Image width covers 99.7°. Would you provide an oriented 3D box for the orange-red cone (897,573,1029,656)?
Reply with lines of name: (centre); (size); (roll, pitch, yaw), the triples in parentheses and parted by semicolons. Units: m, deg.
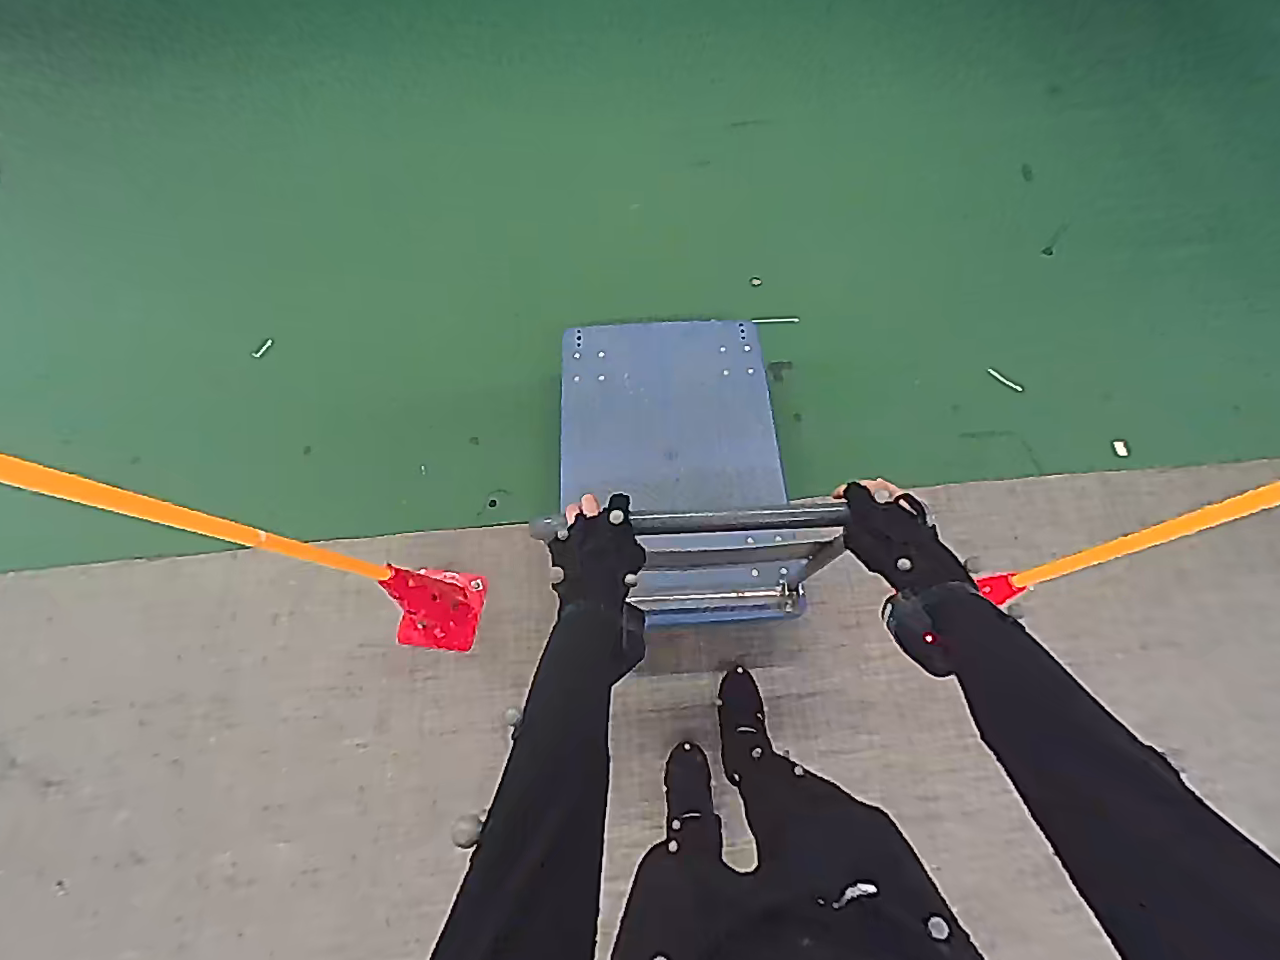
orange-red cone: (0.779, 0.282, 1.262); (0.198, 0.360, 0.199); (5, 66, 3)
